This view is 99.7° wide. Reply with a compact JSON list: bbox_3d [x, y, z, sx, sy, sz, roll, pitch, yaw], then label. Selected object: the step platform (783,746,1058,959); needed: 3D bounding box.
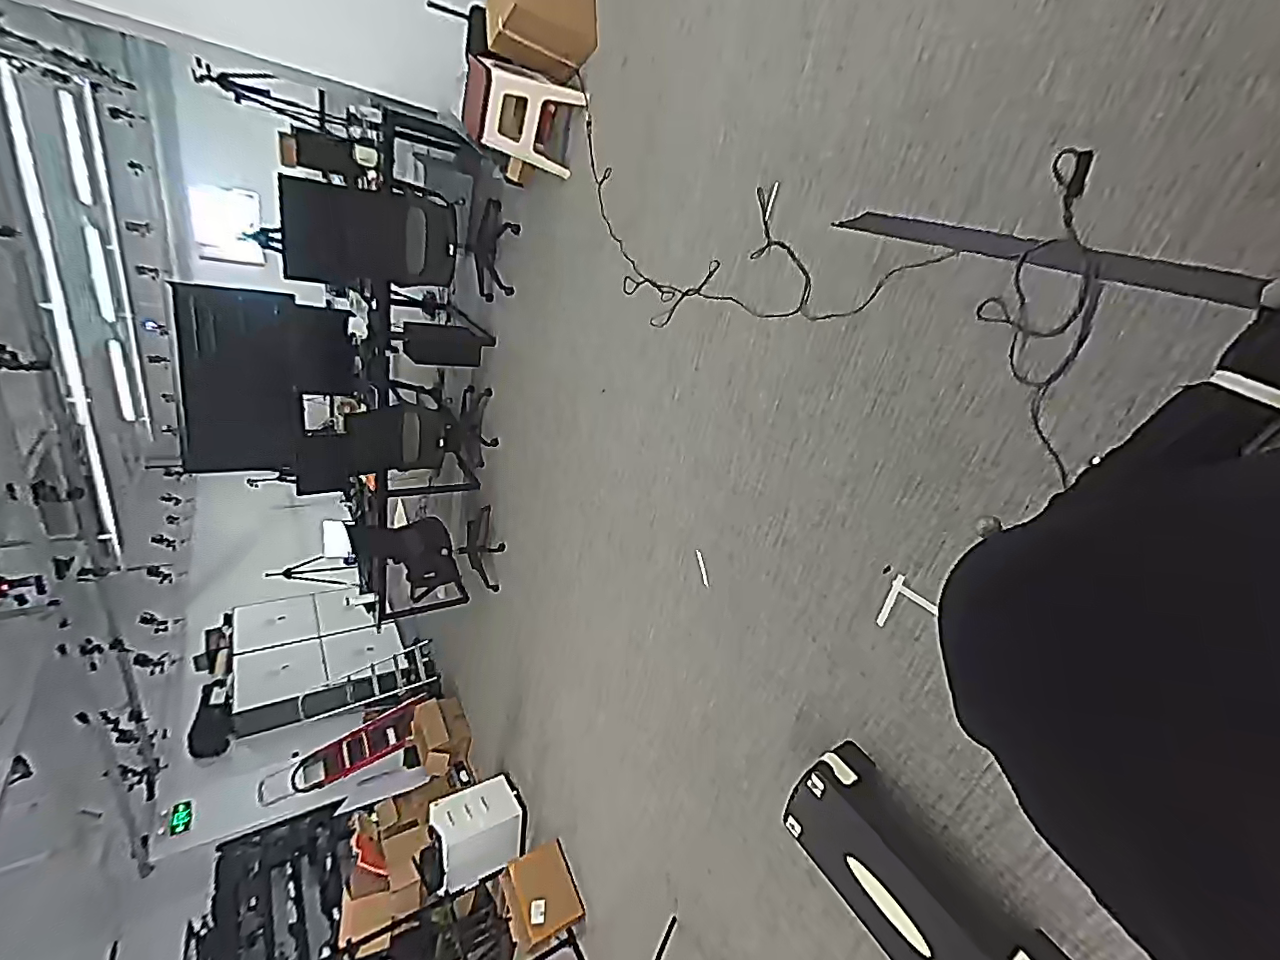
[{"bbox_3d":[0.705,1.094,1.453,0.684,0.204,0.286,41,127,44],"label":"step platform"}]
